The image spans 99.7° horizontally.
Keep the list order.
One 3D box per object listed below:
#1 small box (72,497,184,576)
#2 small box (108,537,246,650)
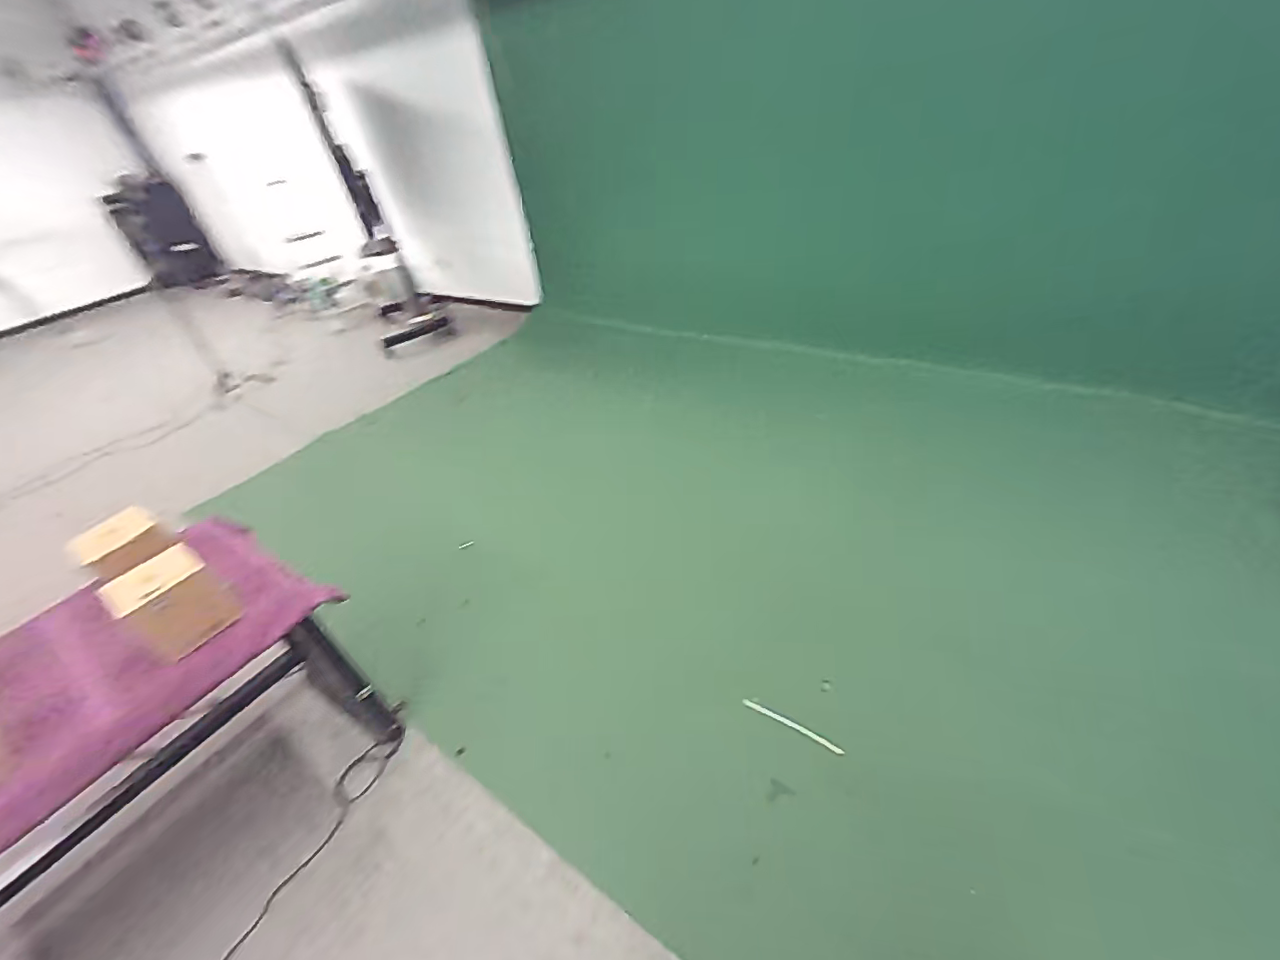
[{"bbox_3d":[-1.335,0.177,1.441,0.179,0.176,0.168,18,48,31],"label":"small box"},{"bbox_3d":[-1.081,0.267,1.270,0.179,0.176,0.168,18,46,34],"label":"small box"}]
